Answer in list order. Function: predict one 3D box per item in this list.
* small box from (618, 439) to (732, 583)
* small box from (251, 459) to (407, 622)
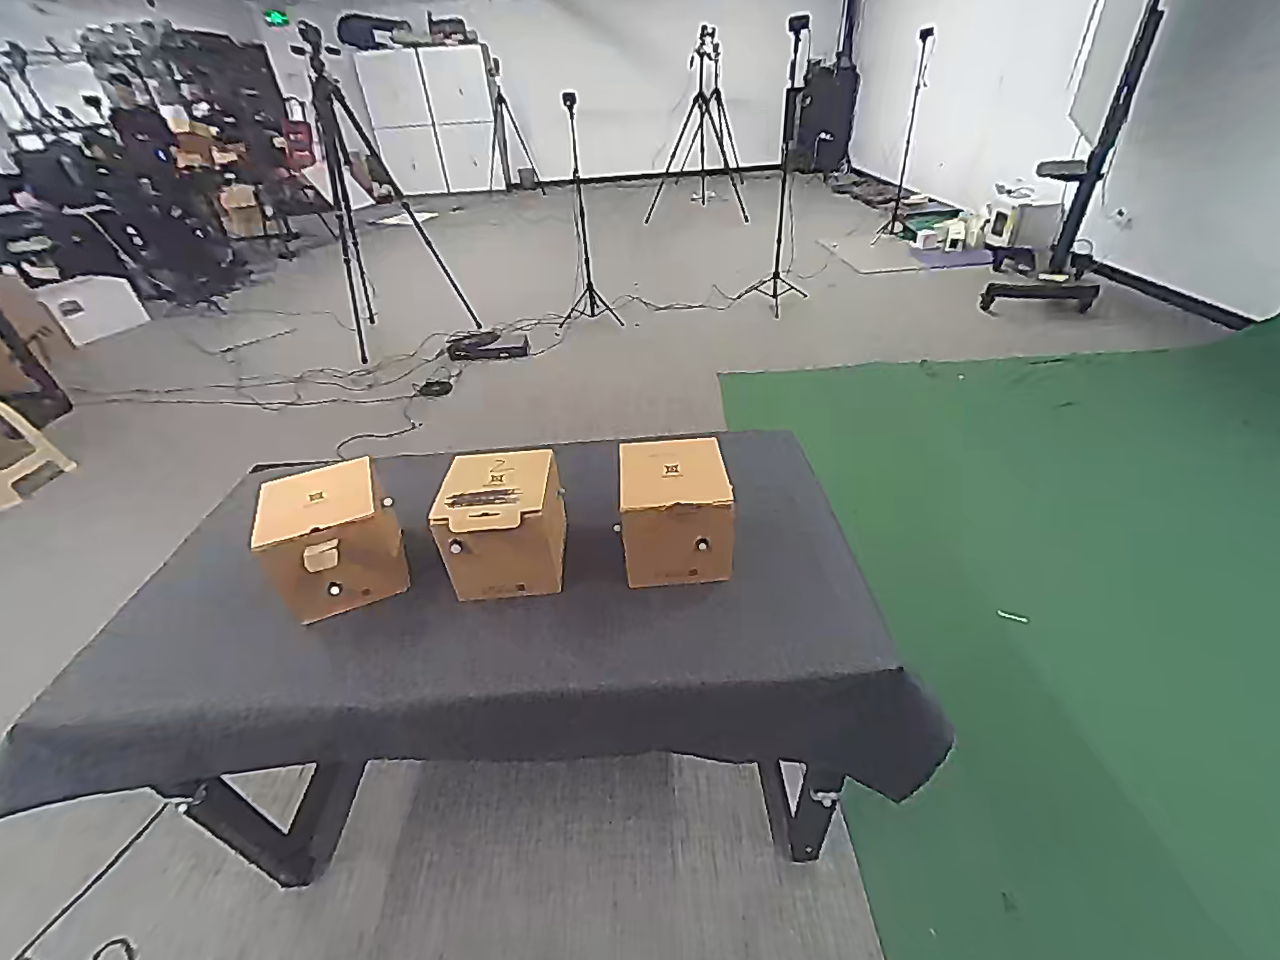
[{"bbox_3d":[0.053,0.054,0.882,0.168,0.176,0.179,-4,35,-1],"label":"small box"},{"bbox_3d":[-0.494,0.096,0.880,0.168,0.176,0.179,-18,39,-18],"label":"small box"}]
